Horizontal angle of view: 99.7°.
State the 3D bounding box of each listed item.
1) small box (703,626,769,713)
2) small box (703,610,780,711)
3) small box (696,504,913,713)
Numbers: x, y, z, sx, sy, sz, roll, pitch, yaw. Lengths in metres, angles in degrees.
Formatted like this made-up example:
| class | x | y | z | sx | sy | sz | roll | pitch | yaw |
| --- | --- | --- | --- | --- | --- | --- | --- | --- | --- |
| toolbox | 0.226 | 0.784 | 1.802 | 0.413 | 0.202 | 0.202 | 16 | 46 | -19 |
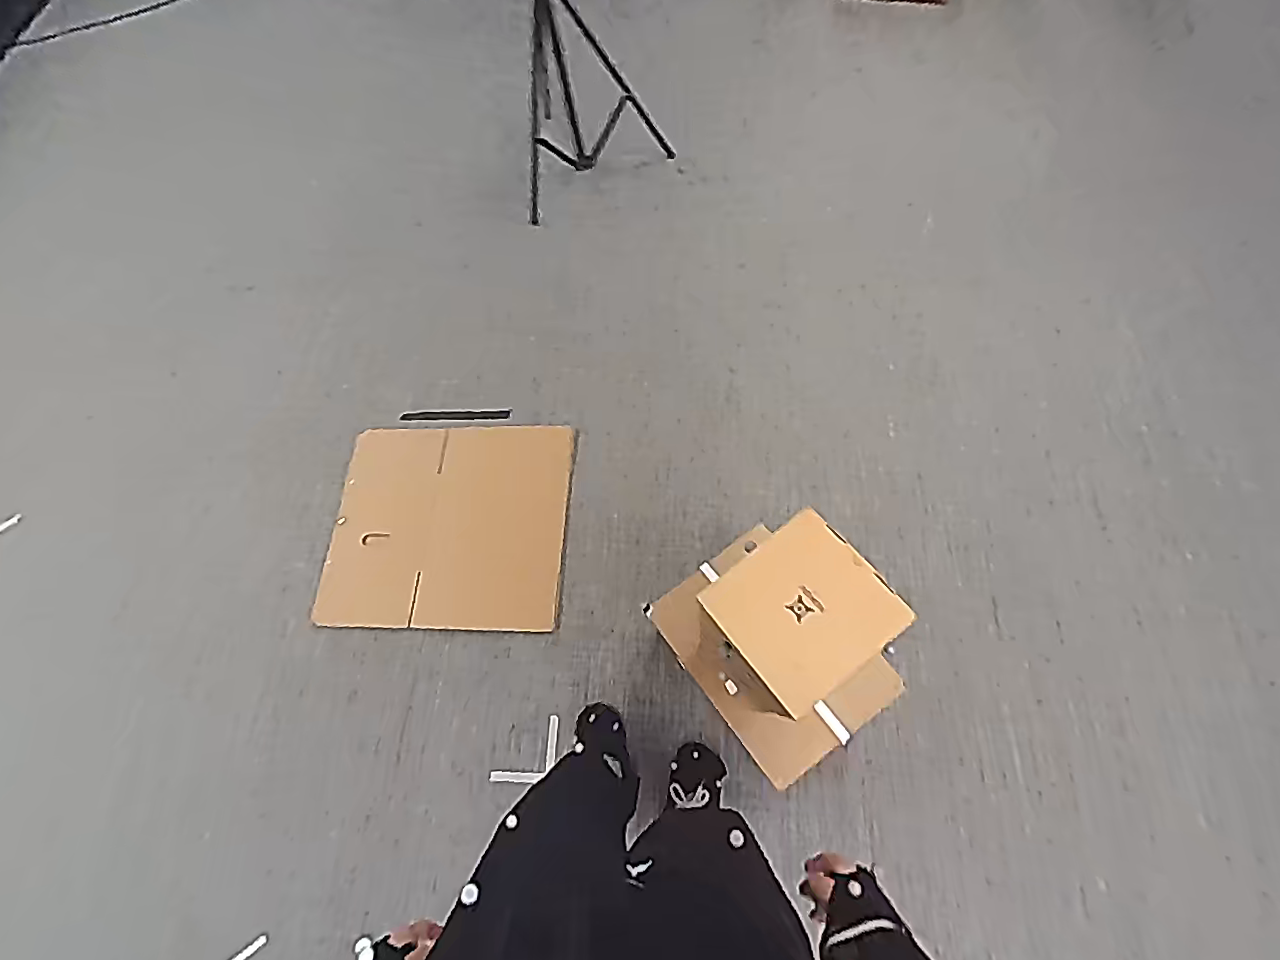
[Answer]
| class | x | y | z | sx | sy | sz | roll | pitch | yaw |
| --- | --- | --- | --- | --- | --- | --- | --- | --- | --- |
| small box | 0.228 | 0.291 | 0.969 | 0.179 | 0.176 | 0.168 | -37 | 67 | -8 |
| small box | 0.210 | 0.225 | 0.819 | 0.179 | 0.176 | 0.168 | -36 | 67 | -9 |
| small box | 0.190 | 0.166 | 0.668 | 0.179 | 0.176 | 0.168 | -37 | 67 | -9 |
